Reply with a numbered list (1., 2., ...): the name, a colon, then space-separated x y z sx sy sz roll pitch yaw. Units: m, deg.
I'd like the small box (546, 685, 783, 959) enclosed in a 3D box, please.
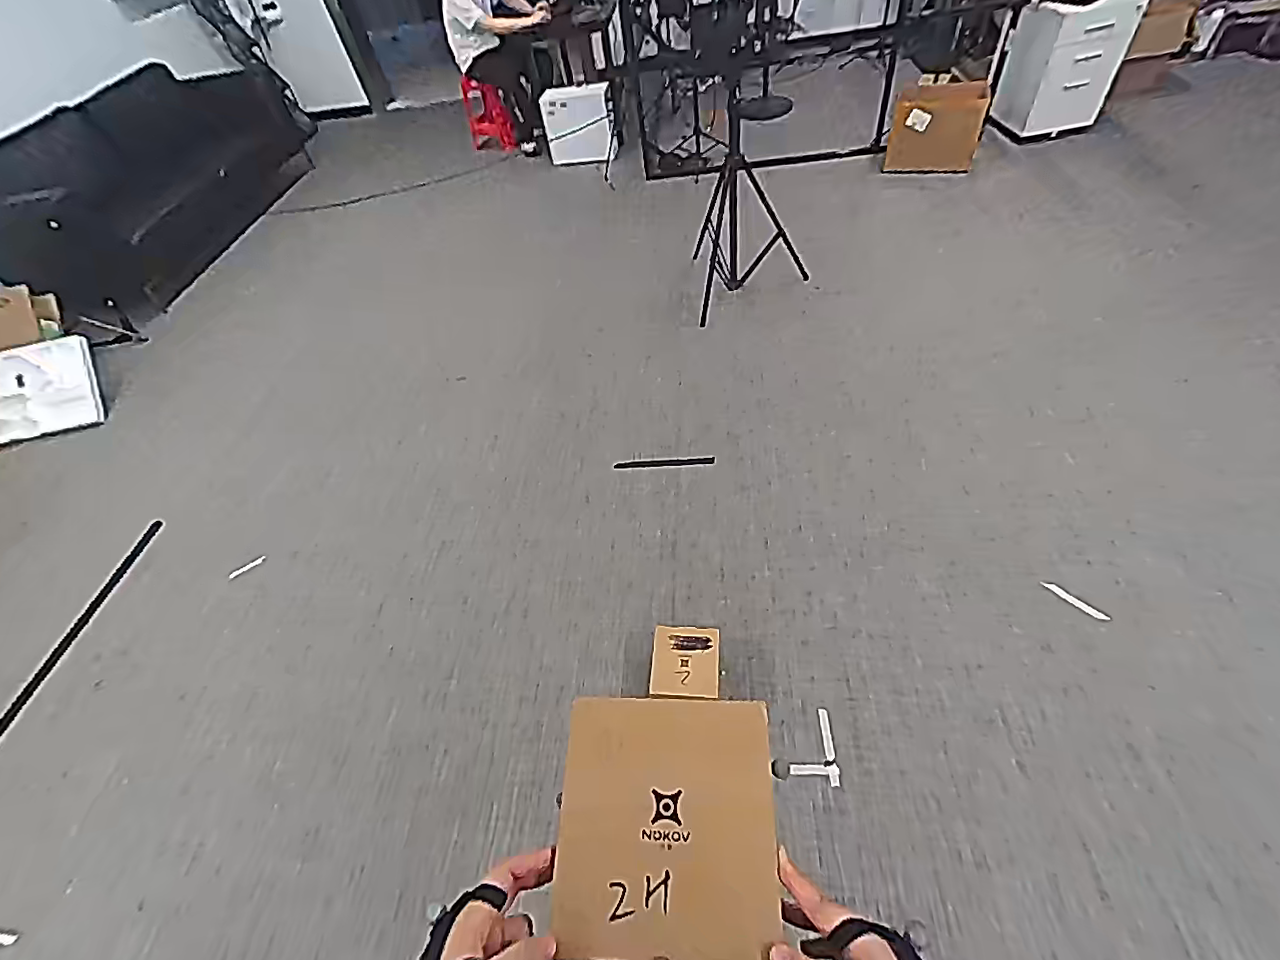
1. small box: 0.029 0.292 0.476 0.168 0.176 0.179 -2 57 9
